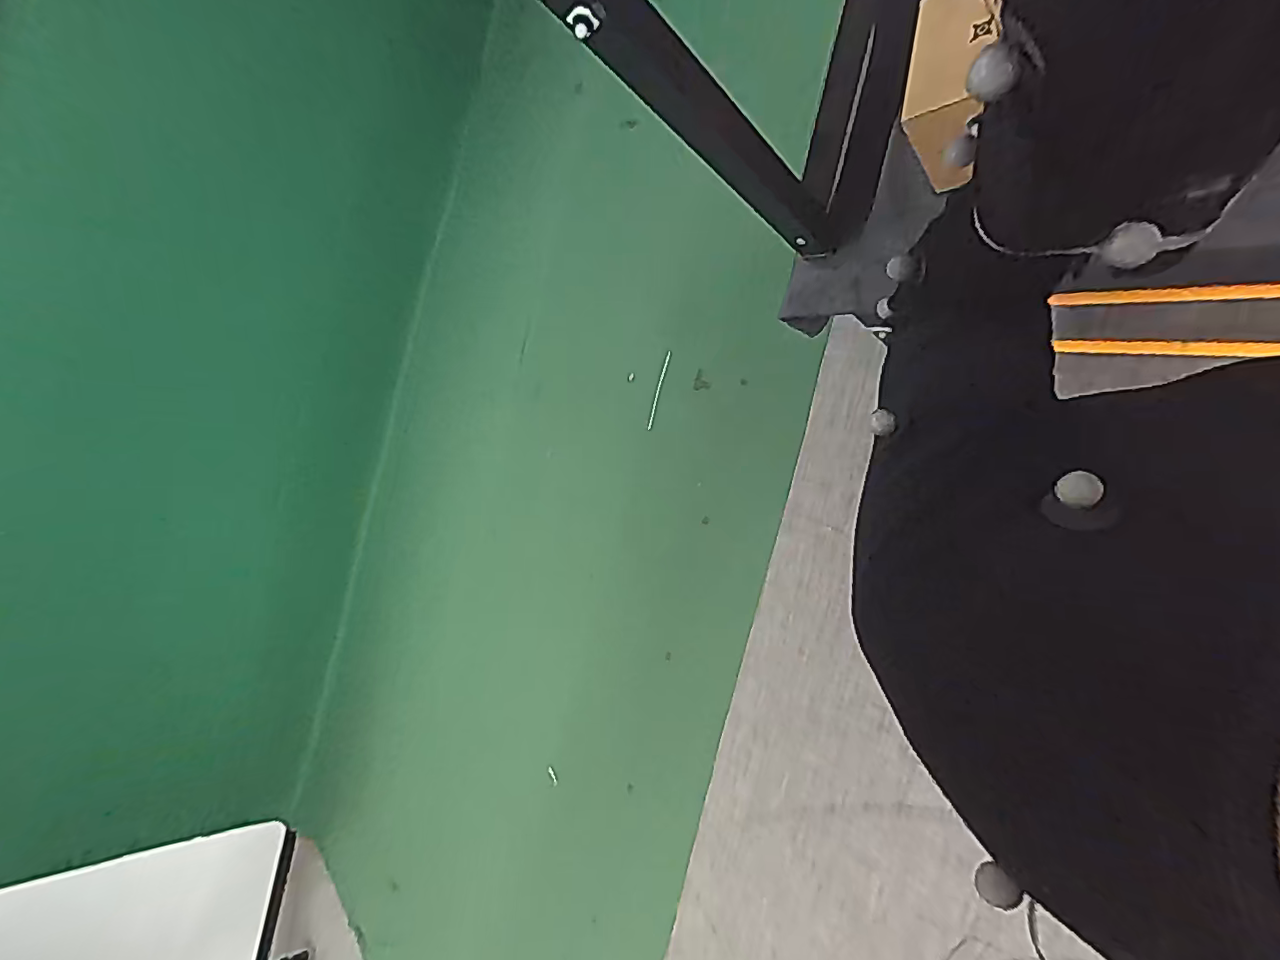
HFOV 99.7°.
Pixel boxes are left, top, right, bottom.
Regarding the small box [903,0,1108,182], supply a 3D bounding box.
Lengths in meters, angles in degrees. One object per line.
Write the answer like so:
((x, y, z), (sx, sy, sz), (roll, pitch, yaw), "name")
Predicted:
((0.462, -0.512, 0.682), (0.179, 0.176, 0.168), (9, 88, 43), "small box")
